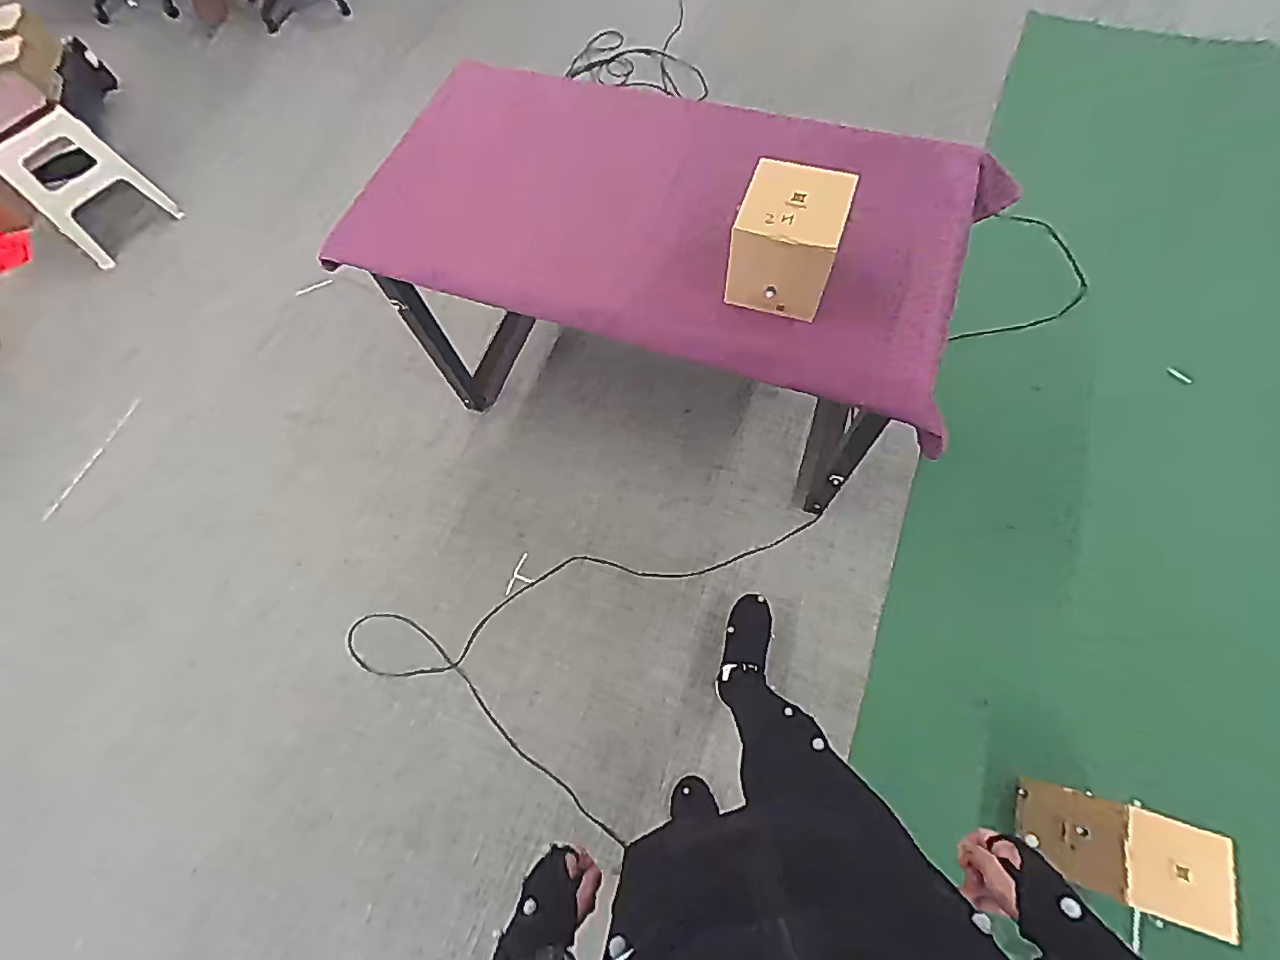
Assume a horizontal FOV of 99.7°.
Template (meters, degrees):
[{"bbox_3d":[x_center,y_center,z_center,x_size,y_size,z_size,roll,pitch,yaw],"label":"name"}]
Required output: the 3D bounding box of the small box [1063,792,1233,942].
[{"bbox_3d":[0.961,0.724,1.037,0.179,0.176,0.168,16,70,10],"label":"small box"}]

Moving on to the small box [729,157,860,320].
[{"bbox_3d":[0.258,-0.413,0.937,0.168,0.176,0.179,18,69,12],"label":"small box"}]

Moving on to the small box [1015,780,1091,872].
[{"bbox_3d":[0.965,0.780,1.190,0.179,0.176,0.168,17,70,10],"label":"small box"}]
